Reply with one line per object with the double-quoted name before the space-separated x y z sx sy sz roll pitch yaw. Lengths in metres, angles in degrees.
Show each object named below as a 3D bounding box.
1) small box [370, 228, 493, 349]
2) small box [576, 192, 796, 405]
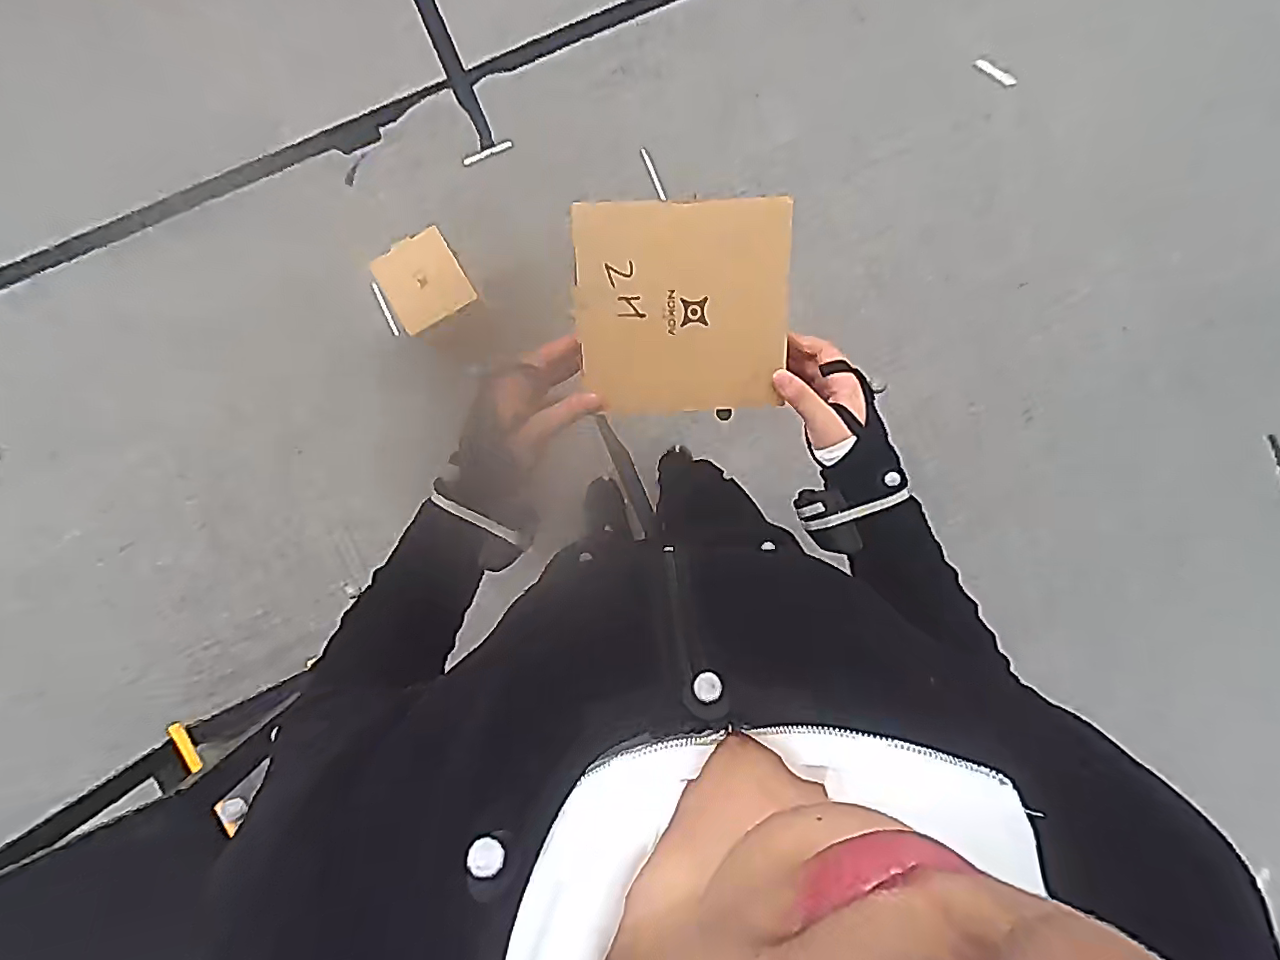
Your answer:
"small box" -0.452 -0.413 1.198 0.168 0.176 0.179 -31 96 -1
"small box" 0.034 -0.169 0.518 0.179 0.176 0.168 -3 107 -2
